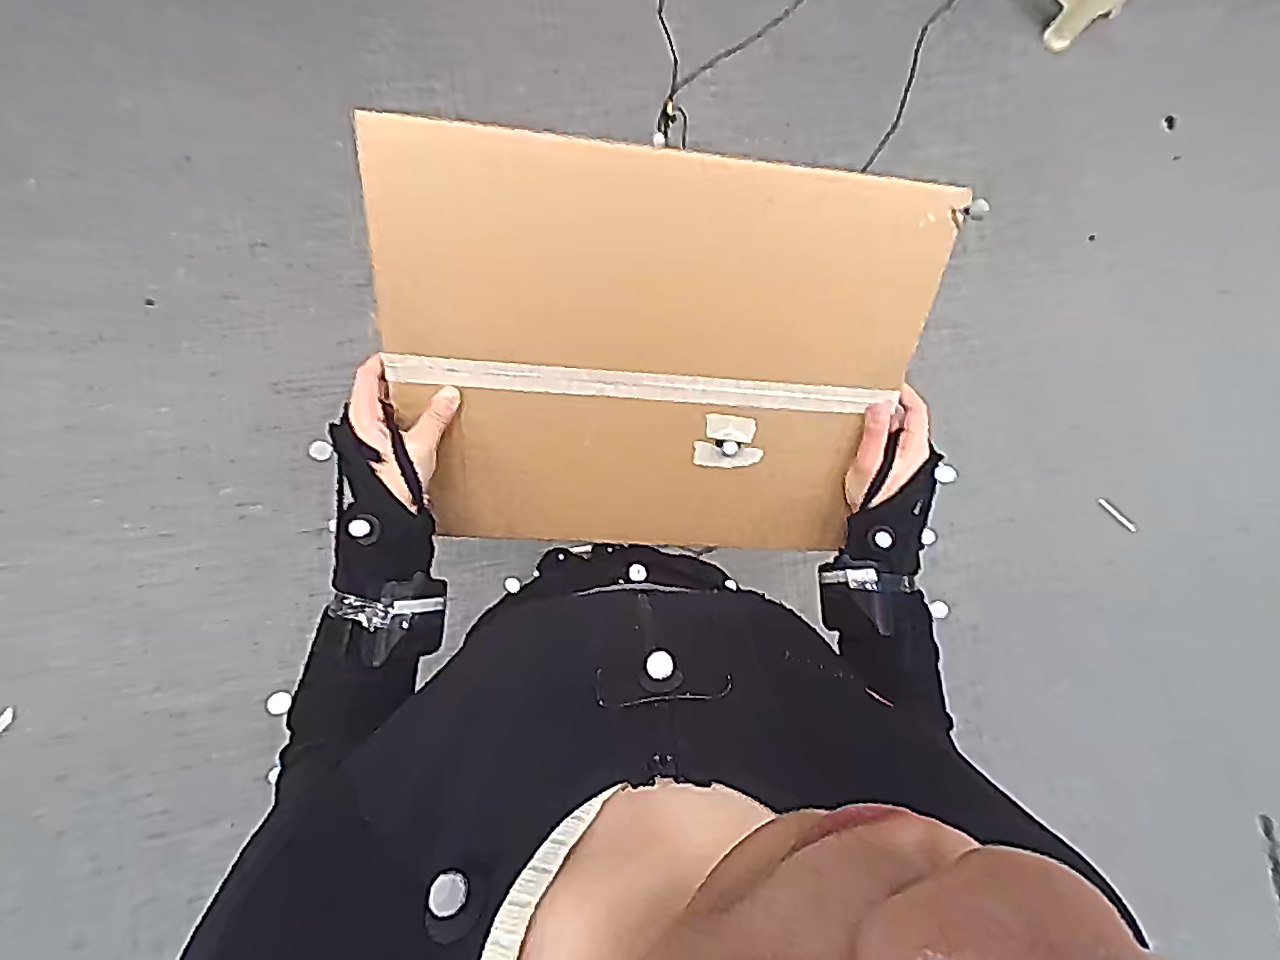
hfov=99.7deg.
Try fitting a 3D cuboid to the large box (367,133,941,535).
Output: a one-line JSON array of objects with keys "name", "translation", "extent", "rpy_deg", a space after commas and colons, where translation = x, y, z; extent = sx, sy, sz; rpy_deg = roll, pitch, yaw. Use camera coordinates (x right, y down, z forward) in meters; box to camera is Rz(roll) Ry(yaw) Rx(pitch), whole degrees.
[{"name": "large box", "translation": [-0.006, -0.156, 0.566], "extent": [0.408, 0.320, 0.320], "rpy_deg": [2, 121, -8]}]
